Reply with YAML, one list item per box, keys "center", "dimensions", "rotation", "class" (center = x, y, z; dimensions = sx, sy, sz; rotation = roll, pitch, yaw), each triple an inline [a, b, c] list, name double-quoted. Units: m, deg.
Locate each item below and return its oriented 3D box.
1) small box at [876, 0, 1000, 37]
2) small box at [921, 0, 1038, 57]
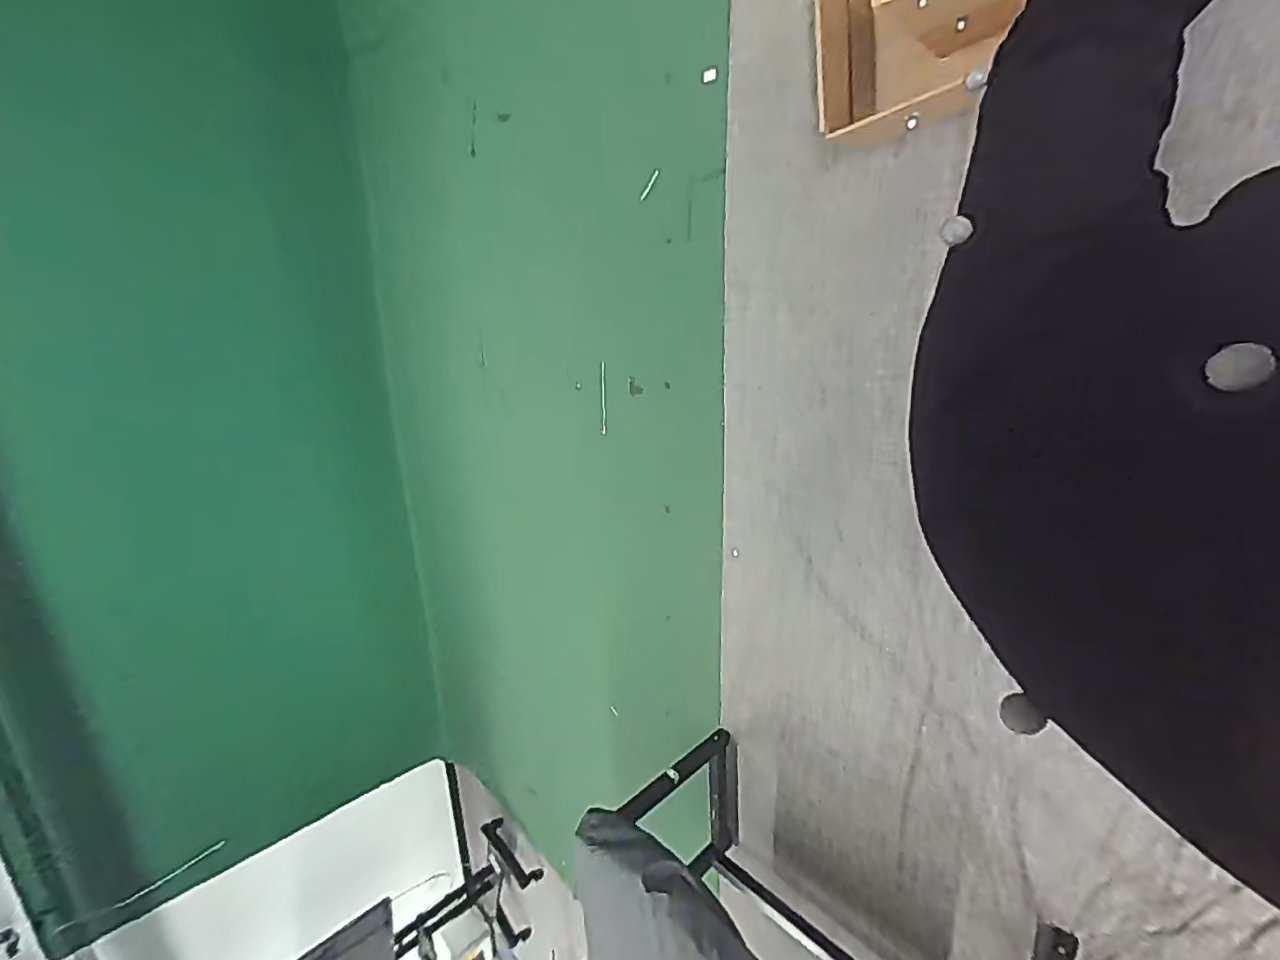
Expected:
- center: [0.541, -0.932, 0.953]
  dimensions: [0.179, 0.176, 0.168]
  rotation: [10, 109, 45]
  class: "small box"
- center: [0.658, -0.978, 1.059]
  dimensions: [0.179, 0.176, 0.168]
  rotation: [6, 107, 46]
  class: "small box"
